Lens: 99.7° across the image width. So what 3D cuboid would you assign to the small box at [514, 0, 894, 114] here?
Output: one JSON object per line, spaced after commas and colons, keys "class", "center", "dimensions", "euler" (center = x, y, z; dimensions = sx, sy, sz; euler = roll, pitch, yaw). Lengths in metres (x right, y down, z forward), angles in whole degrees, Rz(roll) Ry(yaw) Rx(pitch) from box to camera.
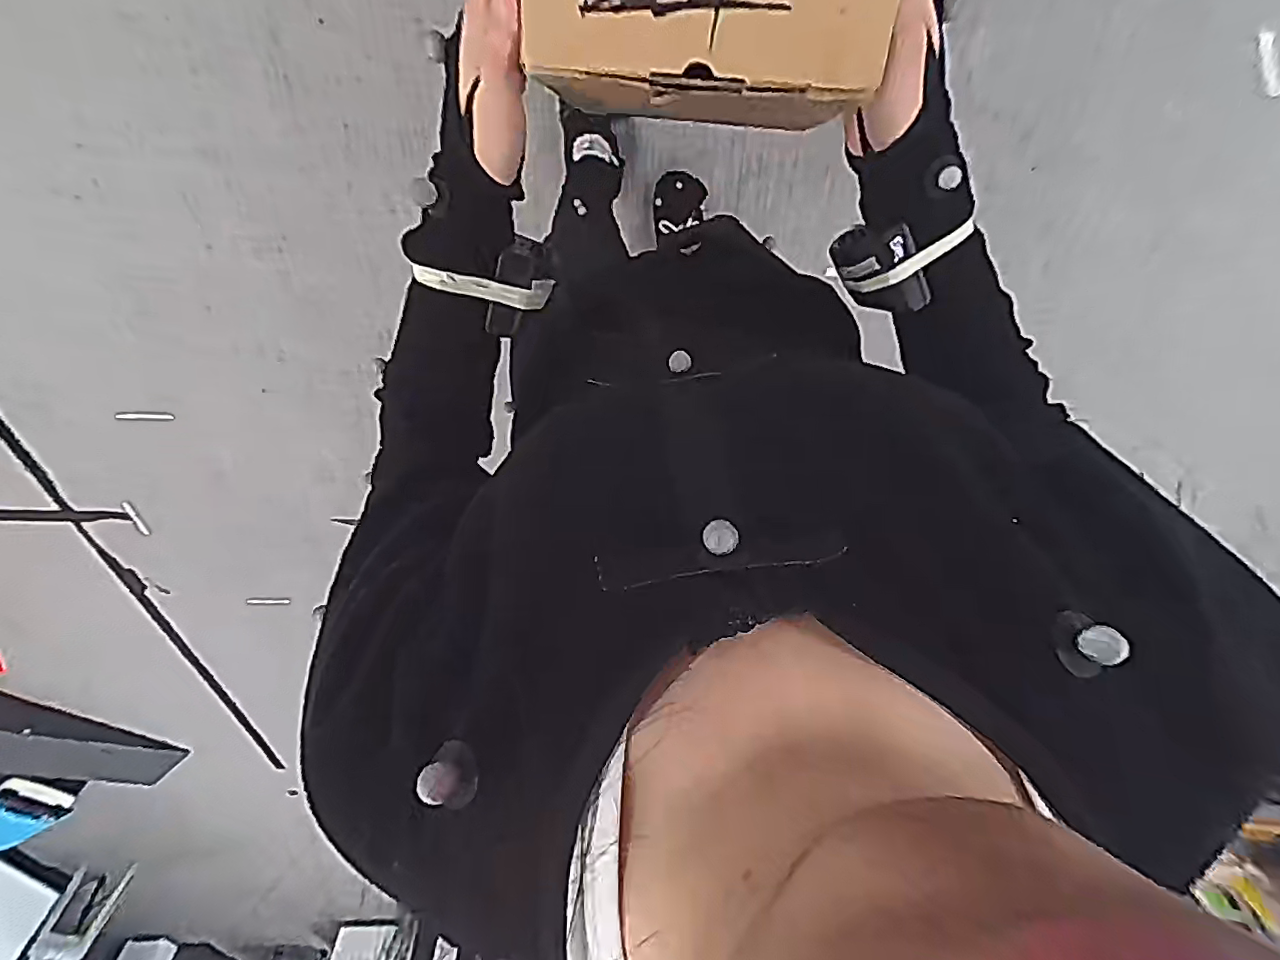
{"class": "small box", "center": [0.038, -0.299, 0.270], "dimensions": [0.168, 0.176, 0.179], "euler": [6, 118, 2]}
